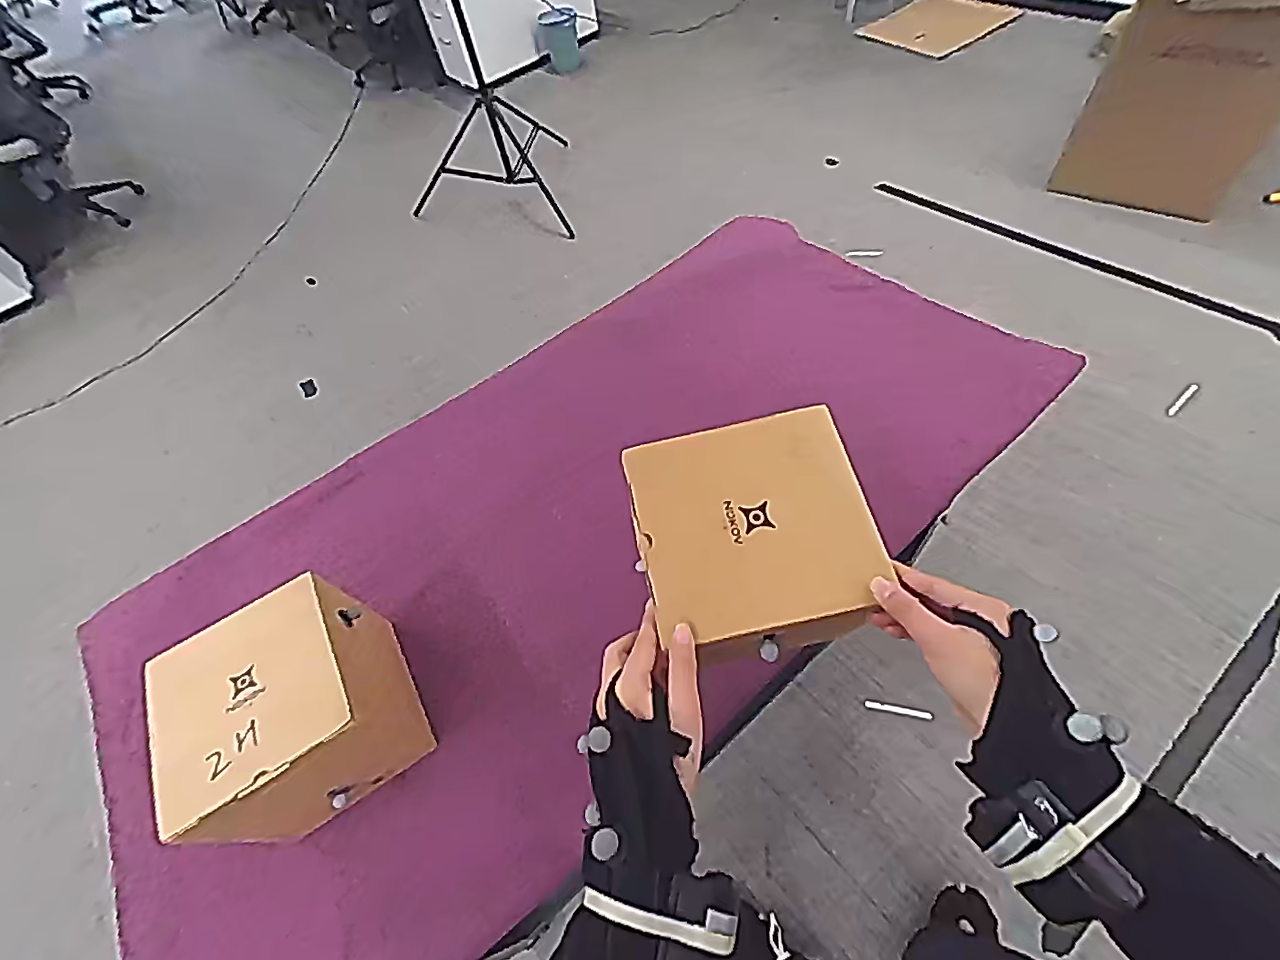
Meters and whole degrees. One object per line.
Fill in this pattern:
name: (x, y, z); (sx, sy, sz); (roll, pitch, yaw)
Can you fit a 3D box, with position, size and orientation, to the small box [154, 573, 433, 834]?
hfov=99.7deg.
small box: (-0.348, 0.236, 0.562); (0.168, 0.176, 0.179); (-31, 58, -12)
